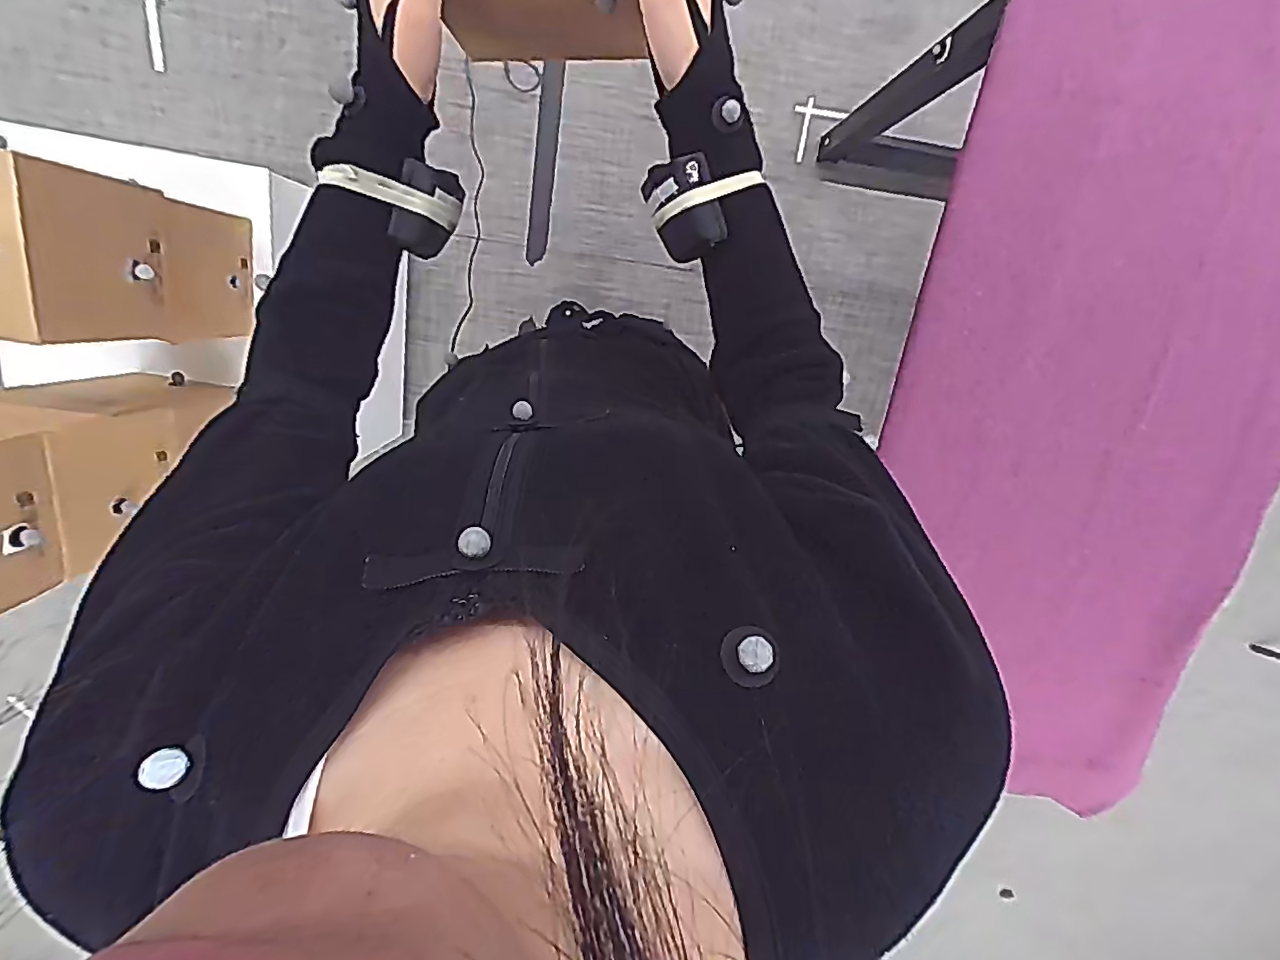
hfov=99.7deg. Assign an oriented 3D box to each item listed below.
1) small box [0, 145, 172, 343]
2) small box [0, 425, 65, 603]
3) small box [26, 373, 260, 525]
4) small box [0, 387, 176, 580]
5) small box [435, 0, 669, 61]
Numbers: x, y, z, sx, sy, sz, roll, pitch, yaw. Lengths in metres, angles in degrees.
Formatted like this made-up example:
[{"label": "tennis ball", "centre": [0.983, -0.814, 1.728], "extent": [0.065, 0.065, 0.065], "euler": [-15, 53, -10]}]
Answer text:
[{"label": "small box", "centre": [-0.625, -0.239, 0.539], "extent": [0.179, 0.176, 0.168], "euler": [9, 107, -7]}, {"label": "small box", "centre": [-0.666, 0.041, 0.456], "extent": [0.179, 0.176, 0.168], "euler": [6, 108, -5]}, {"label": "small box", "centre": [-0.682, -0.053, 0.766], "extent": [0.179, 0.176, 0.168], "euler": [9, 107, -4]}, {"label": "small box", "centre": [-0.673, -0.006, 0.611], "extent": [0.179, 0.176, 0.168], "euler": [7, 107, -5]}, {"label": "small box", "centre": [-0.063, -0.424, 0.376], "extent": [0.179, 0.176, 0.168], "euler": [0, 107, 1]}]
